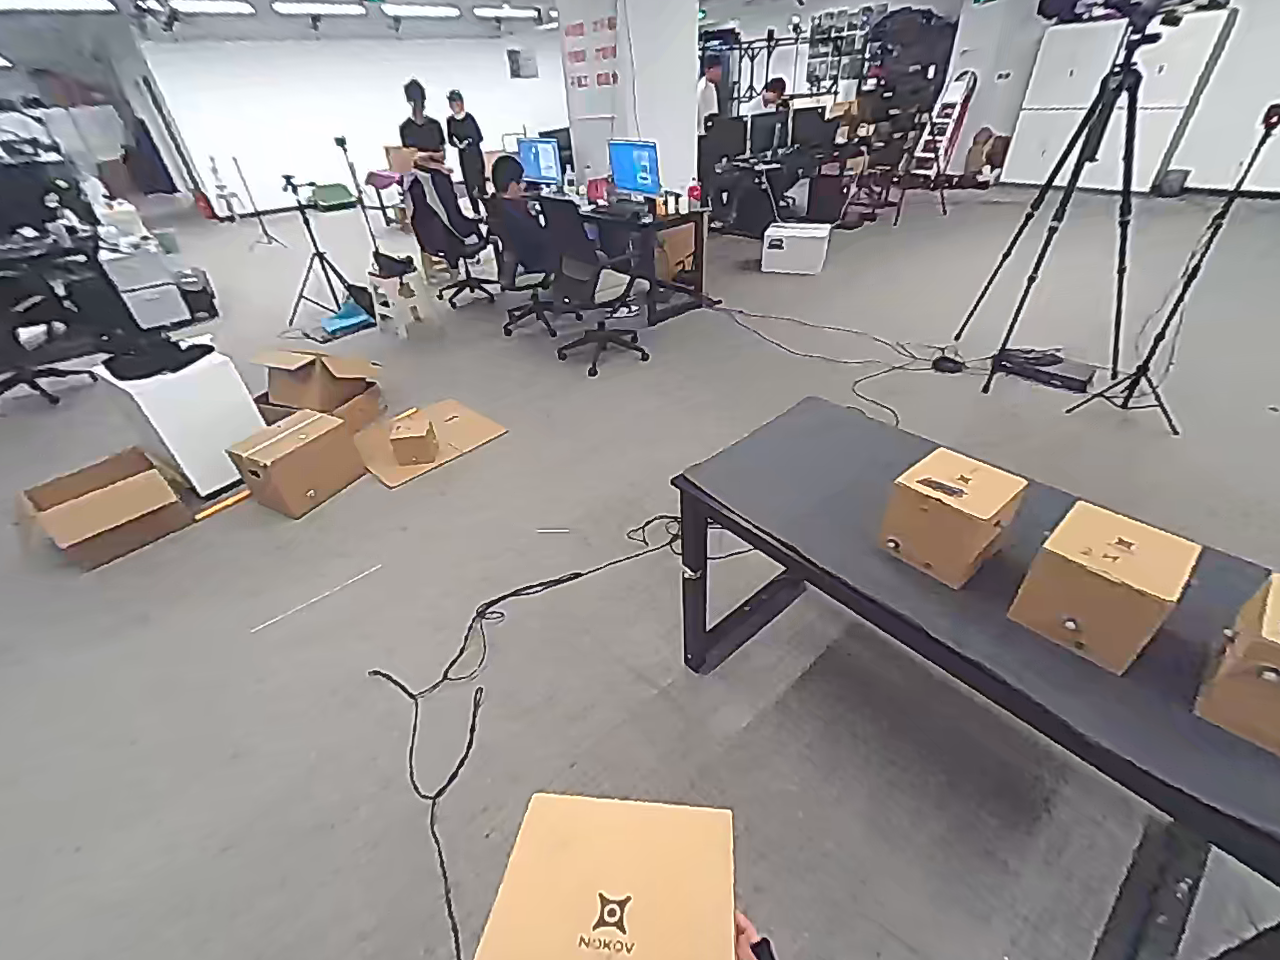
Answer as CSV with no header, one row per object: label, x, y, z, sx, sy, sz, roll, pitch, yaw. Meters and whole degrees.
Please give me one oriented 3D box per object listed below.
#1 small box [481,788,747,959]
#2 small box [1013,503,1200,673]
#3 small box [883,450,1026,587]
small box,-0.011,0.363,0.387,0.168,0.176,0.179,1,22,8
small box,0.751,0.172,0.885,0.179,0.176,0.168,-29,42,-31
small box,0.593,0.073,1.041,0.179,0.176,0.168,-26,41,-30
